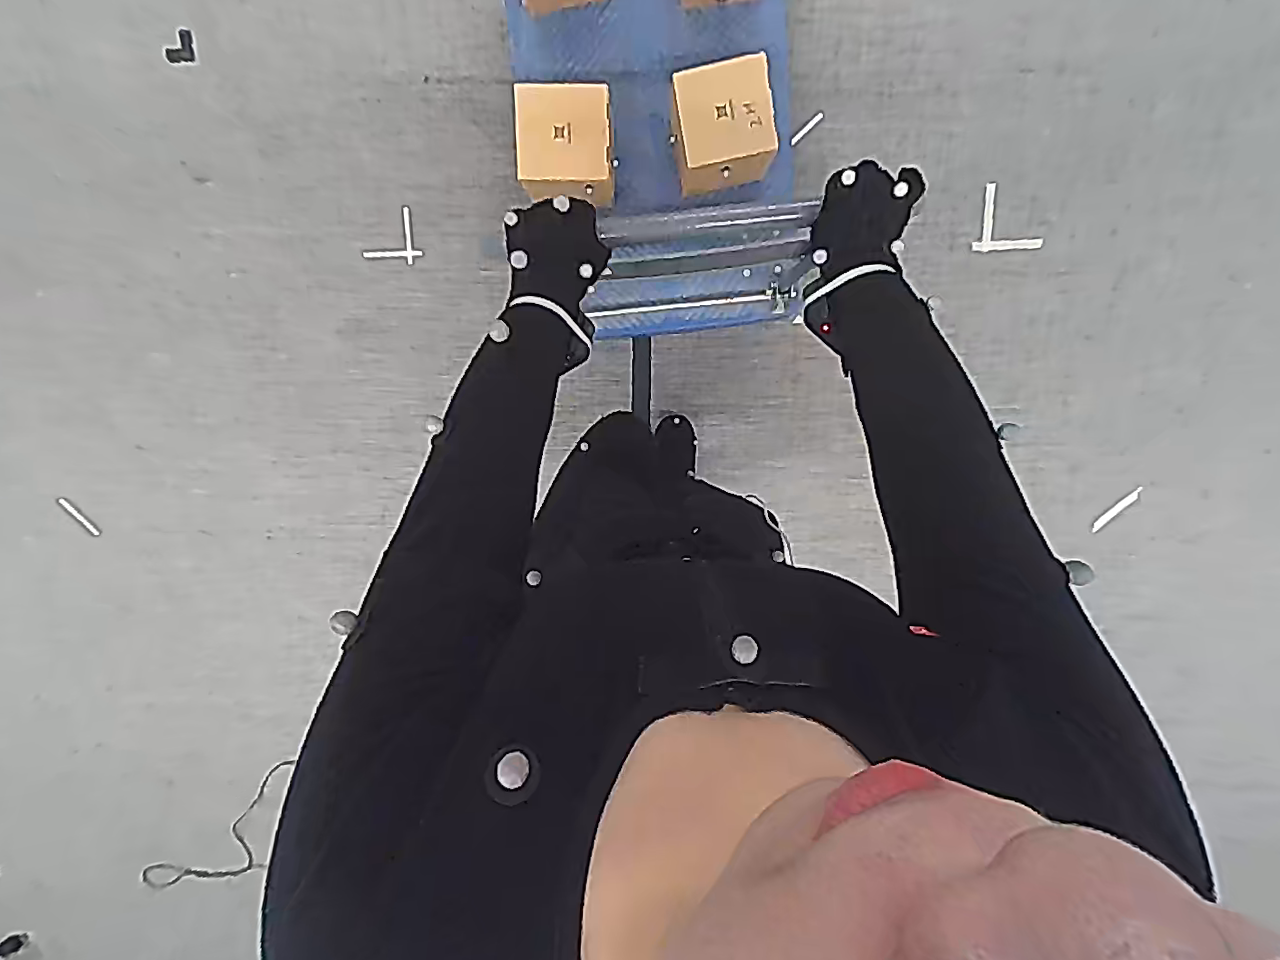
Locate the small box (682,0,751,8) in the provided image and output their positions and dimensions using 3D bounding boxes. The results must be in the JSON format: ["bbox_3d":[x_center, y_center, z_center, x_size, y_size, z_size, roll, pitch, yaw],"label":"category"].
[{"bbox_3d":[0.154,-1.048,1.016,0.168,0.176,0.179,-5,102,2],"label":"small box"}]

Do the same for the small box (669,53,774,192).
[{"bbox_3d":[0.156,-0.702,1.085,0.179,0.176,0.168,-11,101,3],"label":"small box"}]

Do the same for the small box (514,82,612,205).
[{"bbox_3d":[-0.149,-0.670,1.096,0.179,0.176,0.168,0,101,-1],"label":"small box"}]
